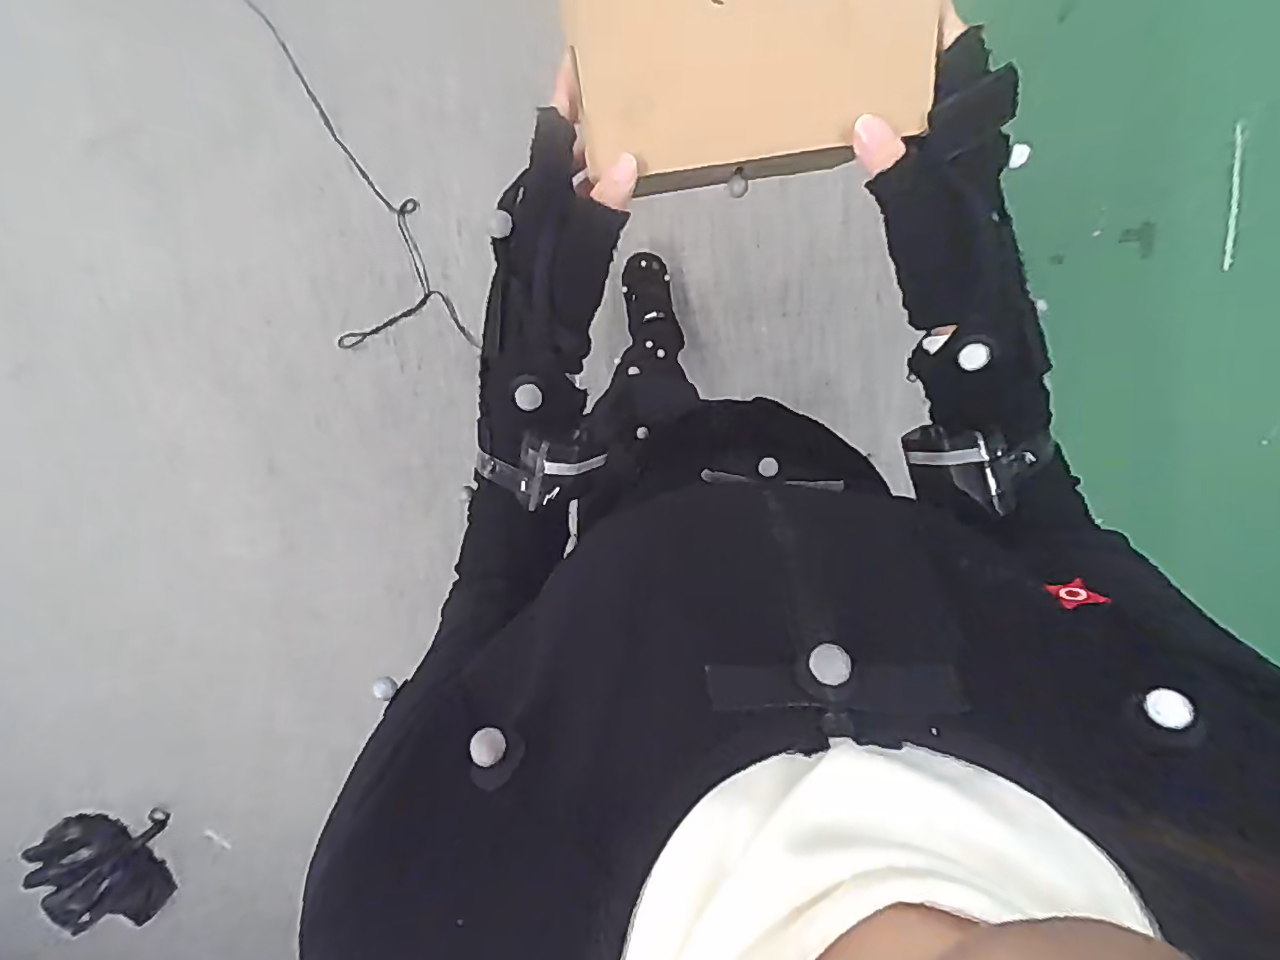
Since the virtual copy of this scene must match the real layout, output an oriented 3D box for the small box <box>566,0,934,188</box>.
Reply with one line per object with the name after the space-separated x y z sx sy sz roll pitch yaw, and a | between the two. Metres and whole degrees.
0.051 -0.279 0.321 0.179 0.176 0.168 -7 116 4 | small box
